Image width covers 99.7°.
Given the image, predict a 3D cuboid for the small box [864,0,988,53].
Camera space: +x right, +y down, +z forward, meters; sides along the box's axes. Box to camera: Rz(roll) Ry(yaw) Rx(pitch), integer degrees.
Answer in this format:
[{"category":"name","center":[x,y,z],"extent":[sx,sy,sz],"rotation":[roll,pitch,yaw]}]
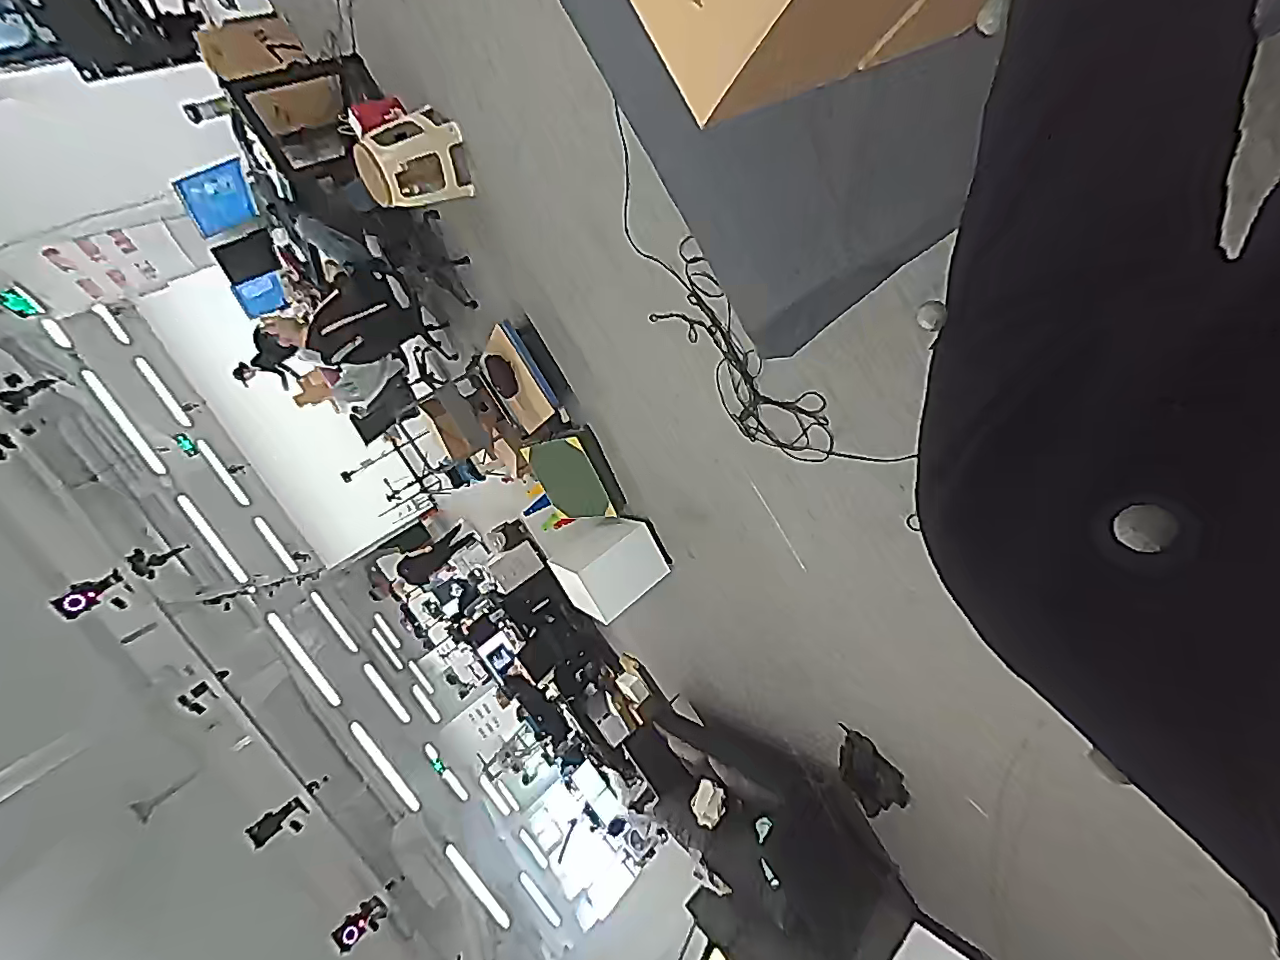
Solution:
[{"category":"small box","center":[0.226,-0.459,0.379],"extent":[0.179,0.176,0.168],"rotation":[58,156,-8]}]

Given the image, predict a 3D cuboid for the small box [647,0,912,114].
[{"category":"small box","center":[0.102,-0.371,0.318],"extent":[0.168,0.176,0.179],"rotation":[59,157,-6]}]
